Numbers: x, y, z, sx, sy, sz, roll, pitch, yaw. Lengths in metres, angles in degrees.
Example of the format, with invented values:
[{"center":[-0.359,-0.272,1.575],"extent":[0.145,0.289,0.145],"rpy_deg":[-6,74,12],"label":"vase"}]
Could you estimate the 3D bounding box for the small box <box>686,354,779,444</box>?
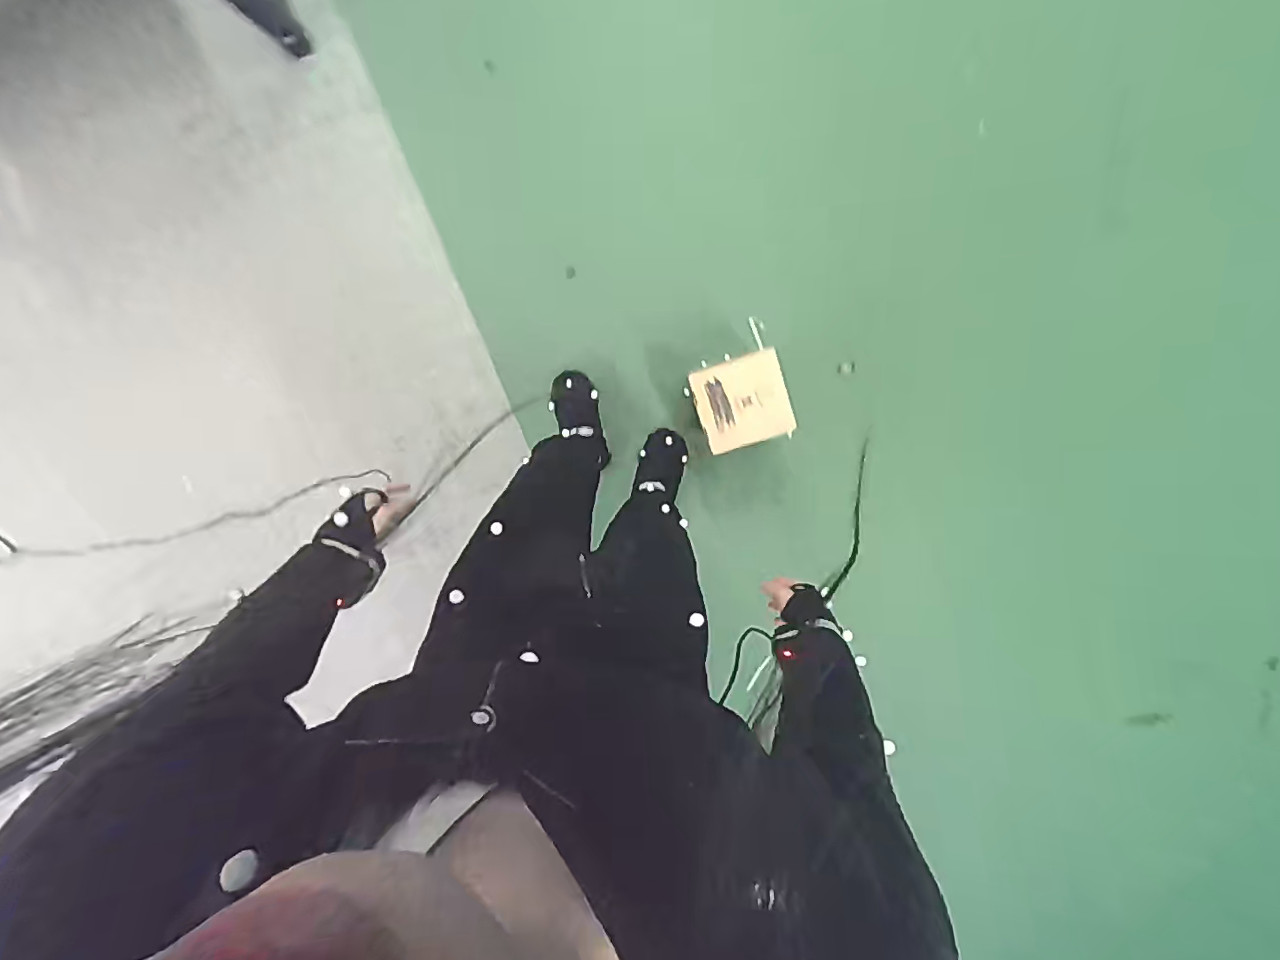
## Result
[{"center":[0.216,-0.201,1.303],"extent":[0.179,0.176,0.168],"rpy_deg":[-17,100,8],"label":"small box"}]
